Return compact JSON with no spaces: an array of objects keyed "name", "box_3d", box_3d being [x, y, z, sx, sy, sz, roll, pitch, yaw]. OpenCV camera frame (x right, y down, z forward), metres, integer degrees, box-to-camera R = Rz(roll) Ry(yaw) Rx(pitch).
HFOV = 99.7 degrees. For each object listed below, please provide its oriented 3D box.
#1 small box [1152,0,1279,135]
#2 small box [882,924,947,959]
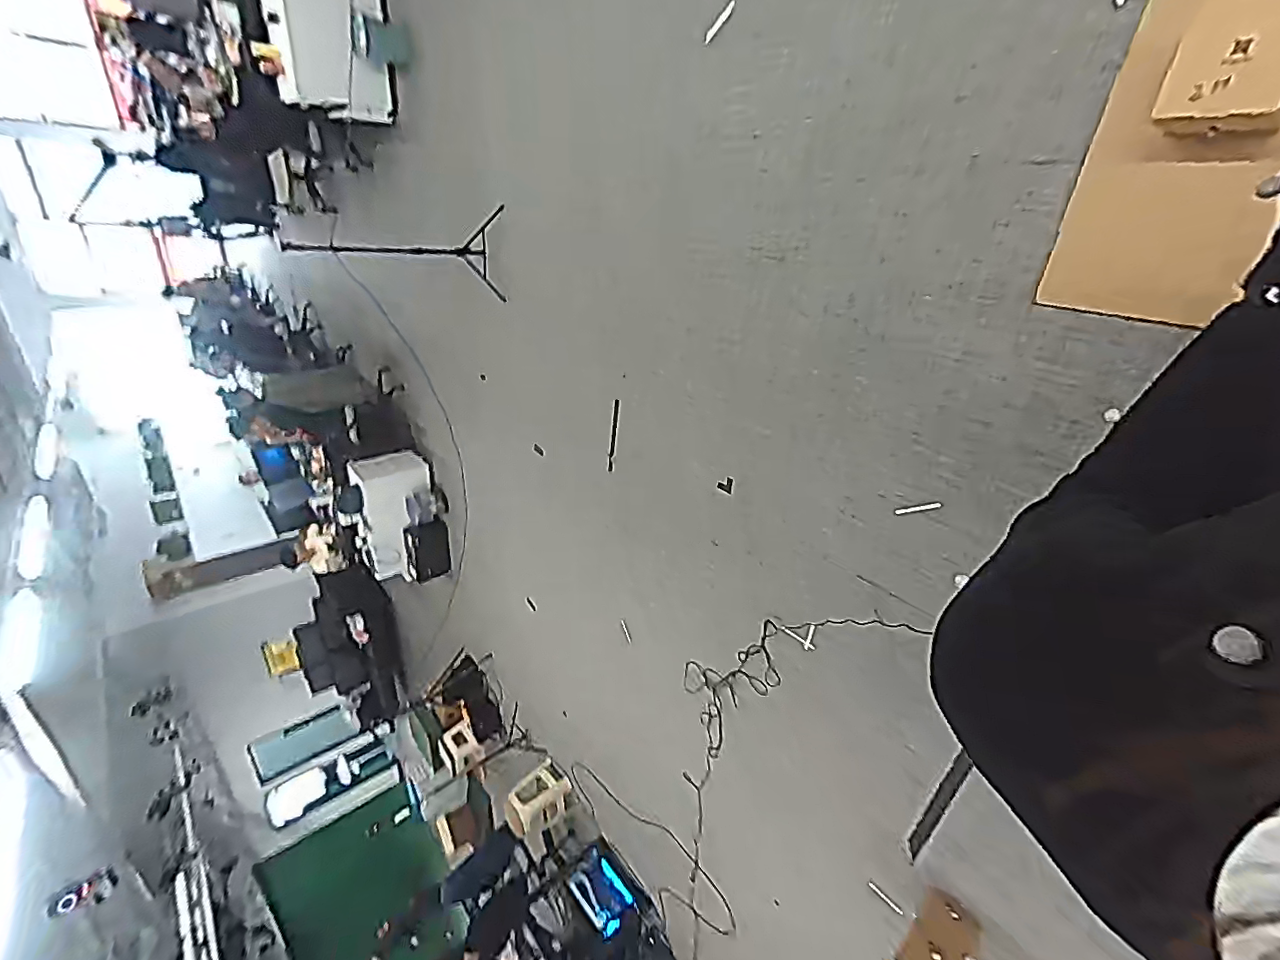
[{"name":"small box","box_3d":[1.036,-0.710,0.928,0.168,0.176,0.179,31,126,41]},{"name":"small box","box_3d":[0.893,1.624,1.769,0.168,0.176,0.179,33,127,38]}]
